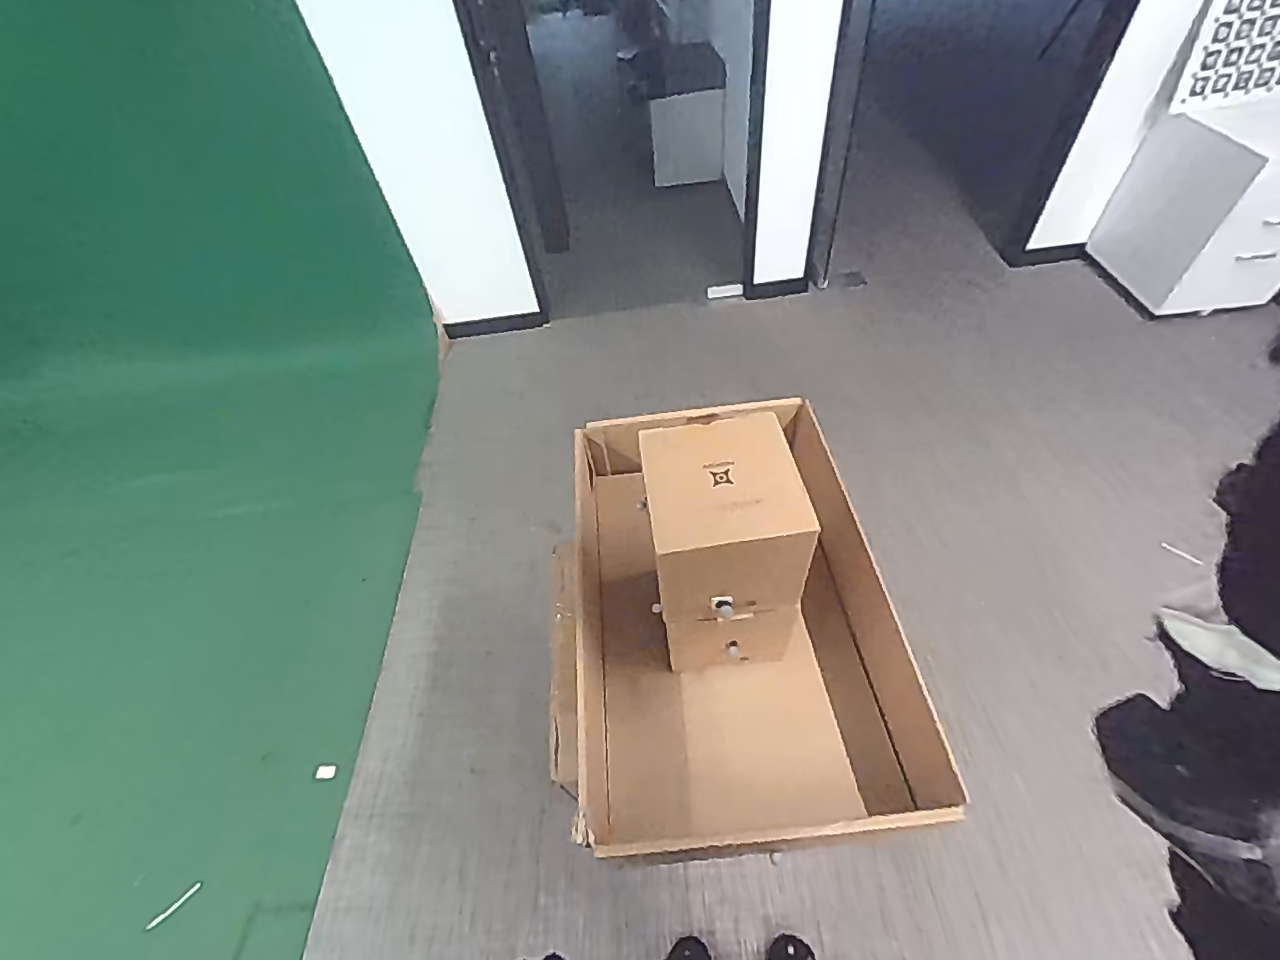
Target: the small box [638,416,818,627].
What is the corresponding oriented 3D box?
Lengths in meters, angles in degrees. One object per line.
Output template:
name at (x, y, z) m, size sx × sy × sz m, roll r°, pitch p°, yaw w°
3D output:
small box at (0.093, 0.051, 0.645) m, size 0.168 × 0.176 × 0.179 m, roll -9°, pitch 50°, yaw 0°
